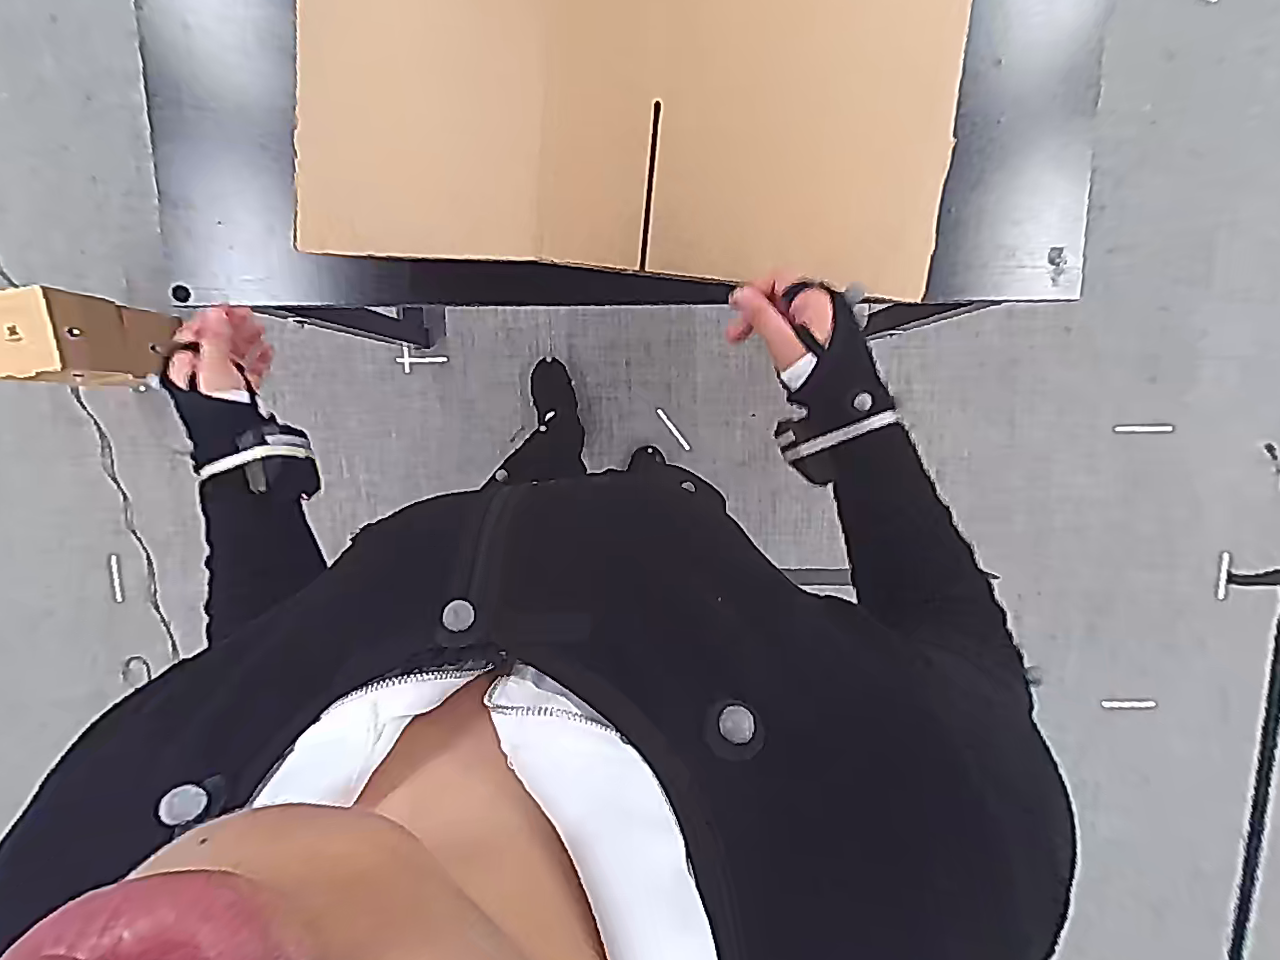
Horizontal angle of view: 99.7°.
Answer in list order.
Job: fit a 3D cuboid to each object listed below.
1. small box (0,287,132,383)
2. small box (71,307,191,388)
[{"bbox_3d":[-1.294,-0.313,1.204,0.168,0.176,0.179,-7,96,0],"label":"small box"},{"bbox_3d":[-1.292,-0.328,1.365,0.168,0.176,0.179,-4,98,1],"label":"small box"}]
